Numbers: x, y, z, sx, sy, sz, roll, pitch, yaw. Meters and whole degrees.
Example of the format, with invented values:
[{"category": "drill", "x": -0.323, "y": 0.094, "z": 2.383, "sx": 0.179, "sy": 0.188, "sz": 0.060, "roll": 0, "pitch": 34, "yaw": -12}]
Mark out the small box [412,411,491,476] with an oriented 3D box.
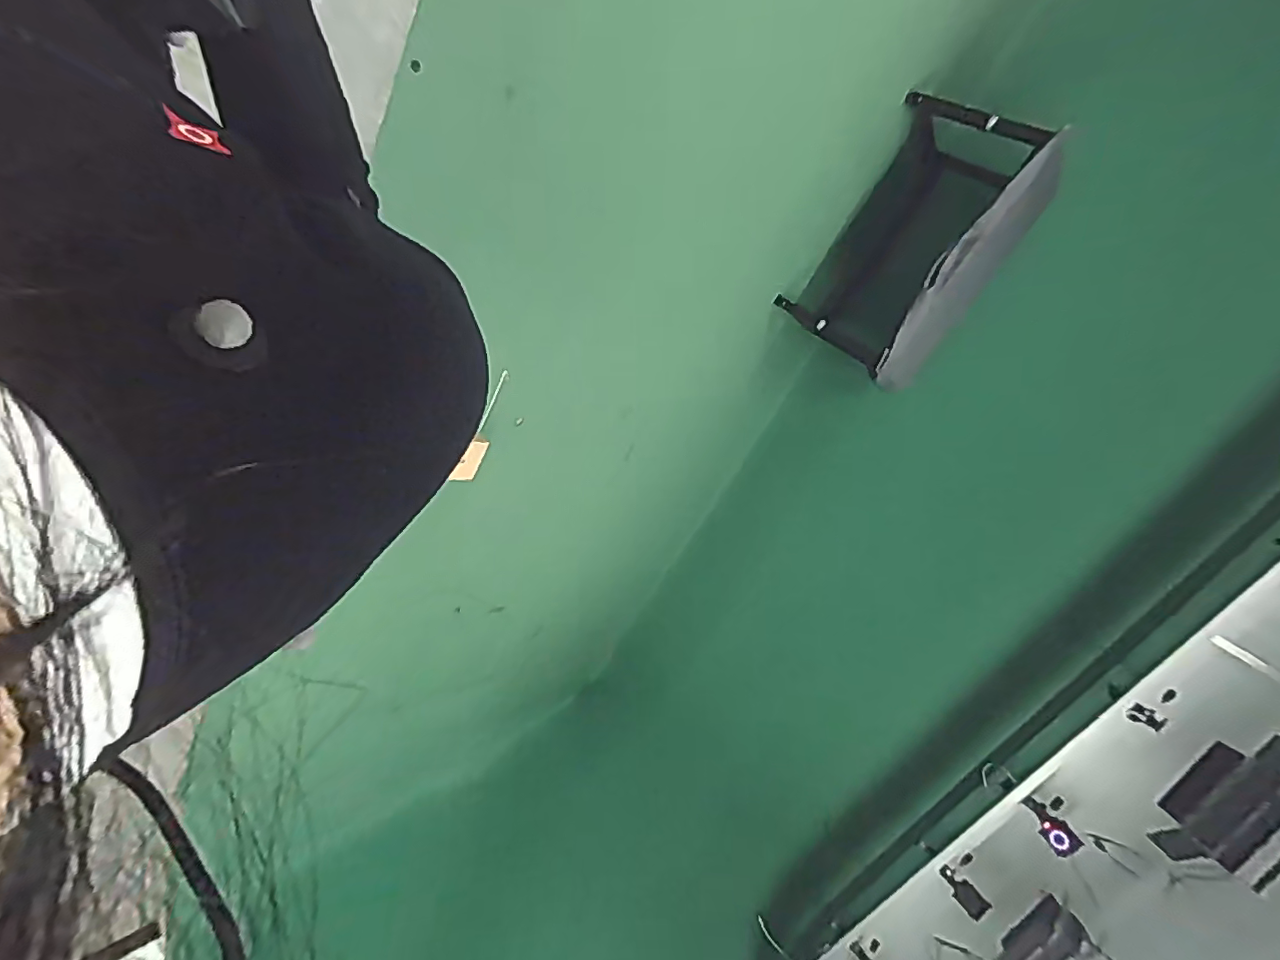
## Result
[{"category": "small box", "x": -0.670, "y": -0.129, "z": 1.908, "sx": 0.179, "sy": 0.176, "sz": 0.168, "roll": -1, "pitch": 127, "yaw": -57}]
